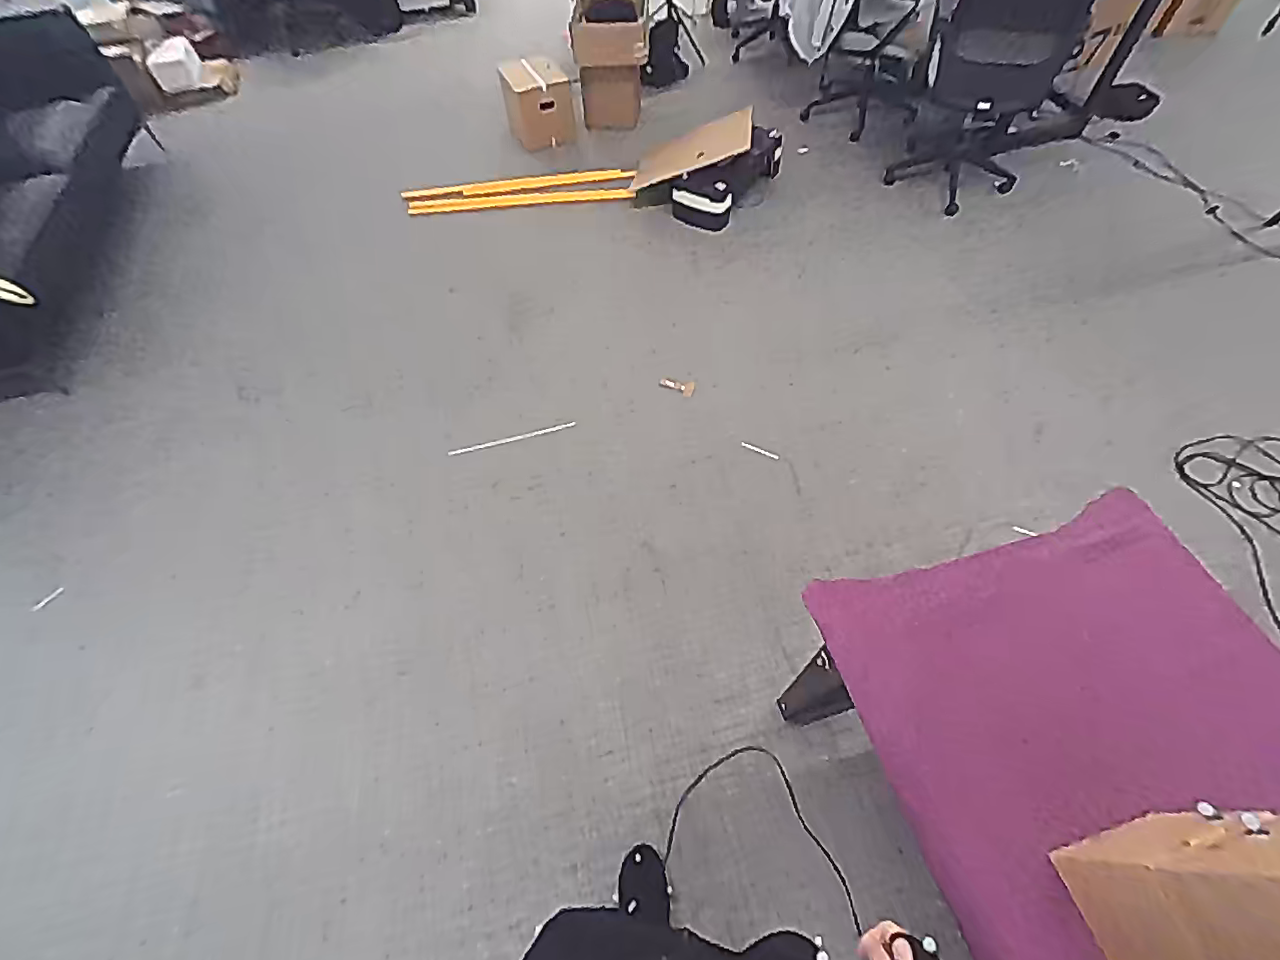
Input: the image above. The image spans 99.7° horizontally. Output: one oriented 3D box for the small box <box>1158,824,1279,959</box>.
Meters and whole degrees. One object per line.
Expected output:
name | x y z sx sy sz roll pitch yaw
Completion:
small box | 0.619 0.406 0.449 0.168 0.176 0.179 -14 57 -7
